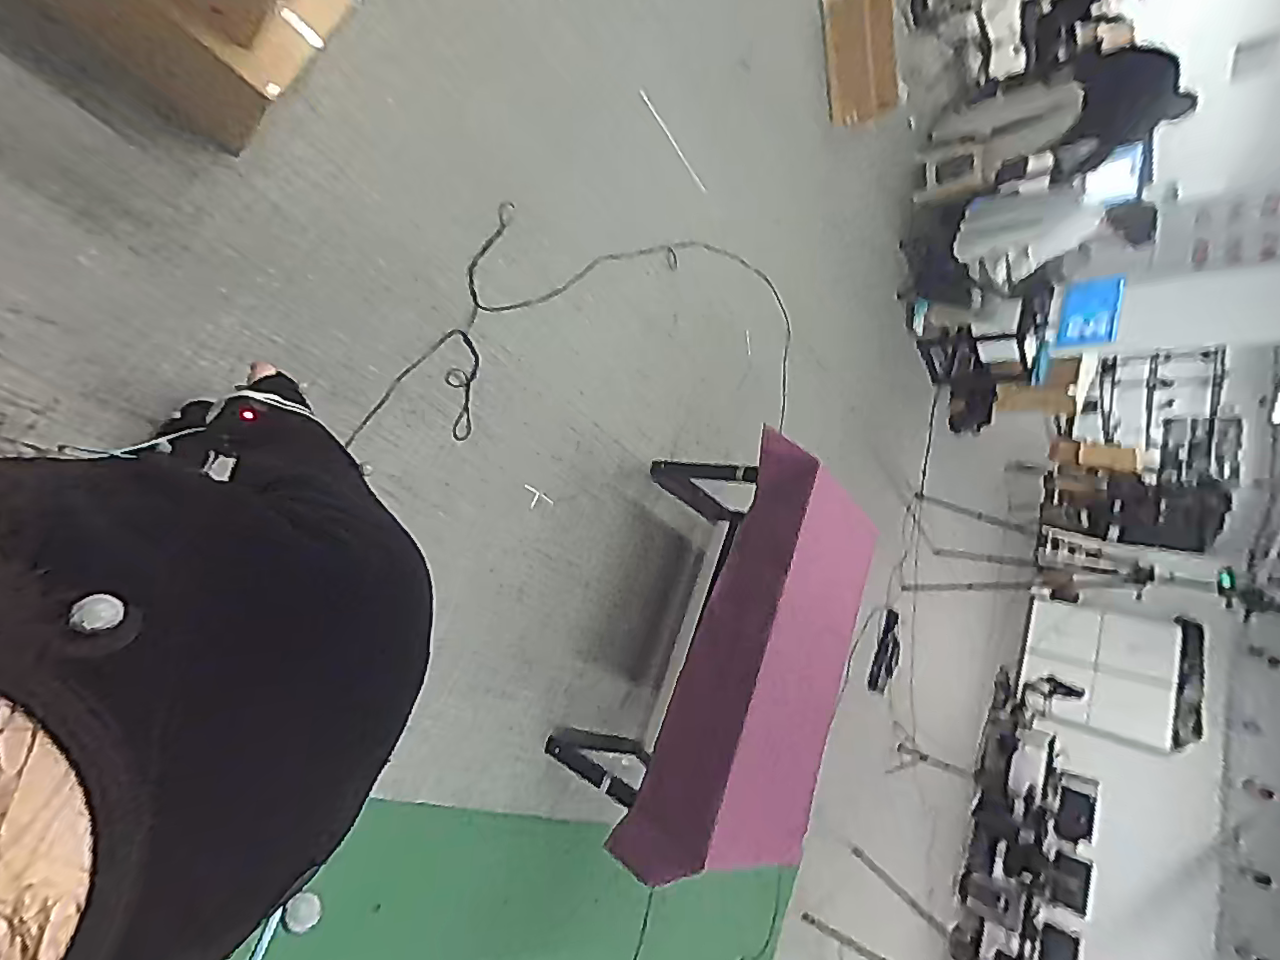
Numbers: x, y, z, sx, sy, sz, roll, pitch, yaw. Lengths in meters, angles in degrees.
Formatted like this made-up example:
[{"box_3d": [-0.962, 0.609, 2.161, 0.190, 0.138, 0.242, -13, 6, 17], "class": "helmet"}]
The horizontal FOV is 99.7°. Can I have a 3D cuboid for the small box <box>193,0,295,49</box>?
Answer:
[{"box_3d": [-0.650, -0.864, 0.874, 0.168, 0.176, 0.179, 34, 71, -42], "class": "small box"}]
